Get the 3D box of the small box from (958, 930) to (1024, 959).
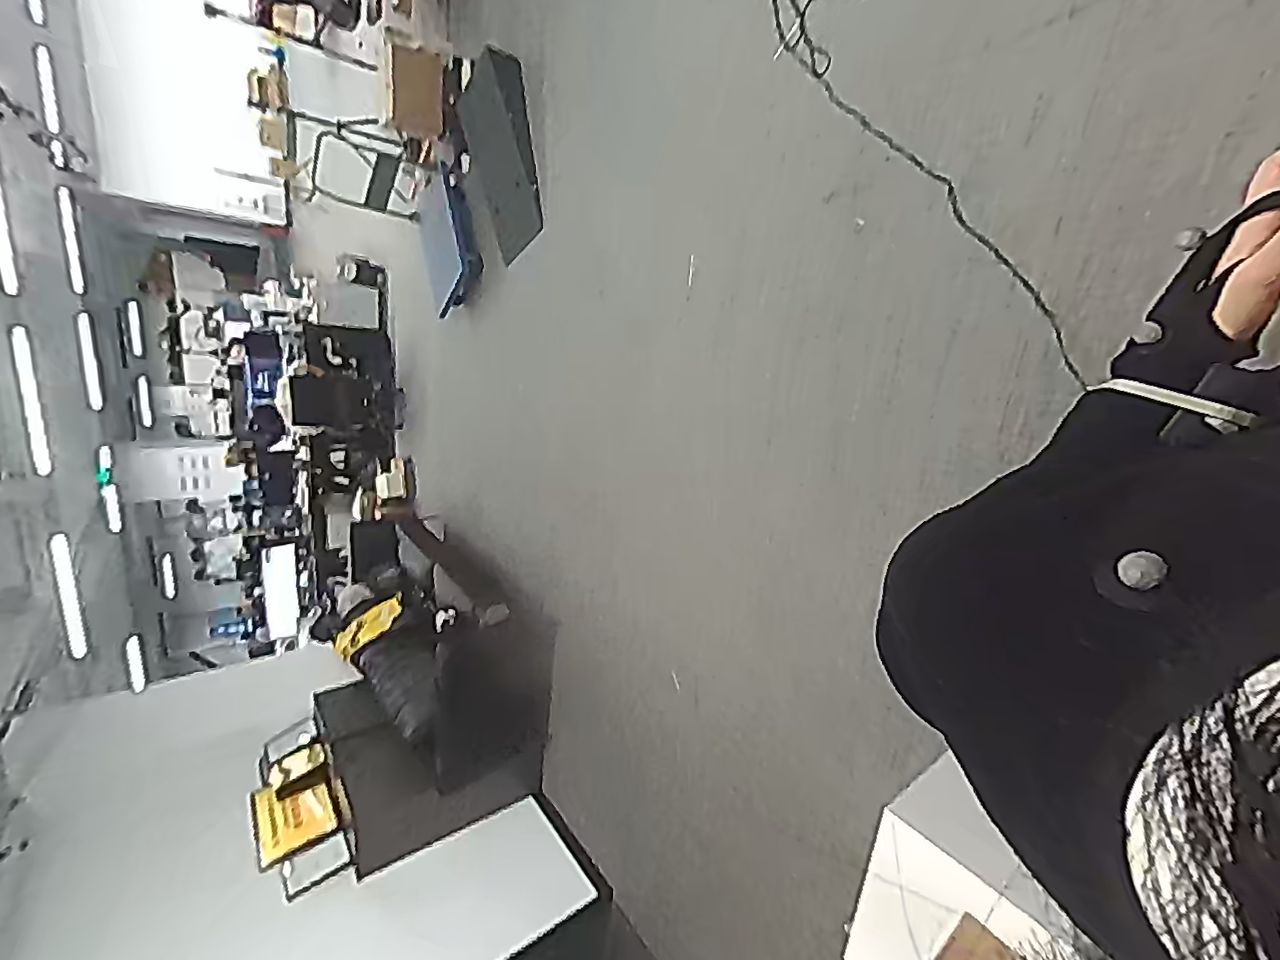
[{"bbox_3d":[0.536,0.841,0.802,0.168,0.176,0.179,26,115,47],"label":"small box"}]
